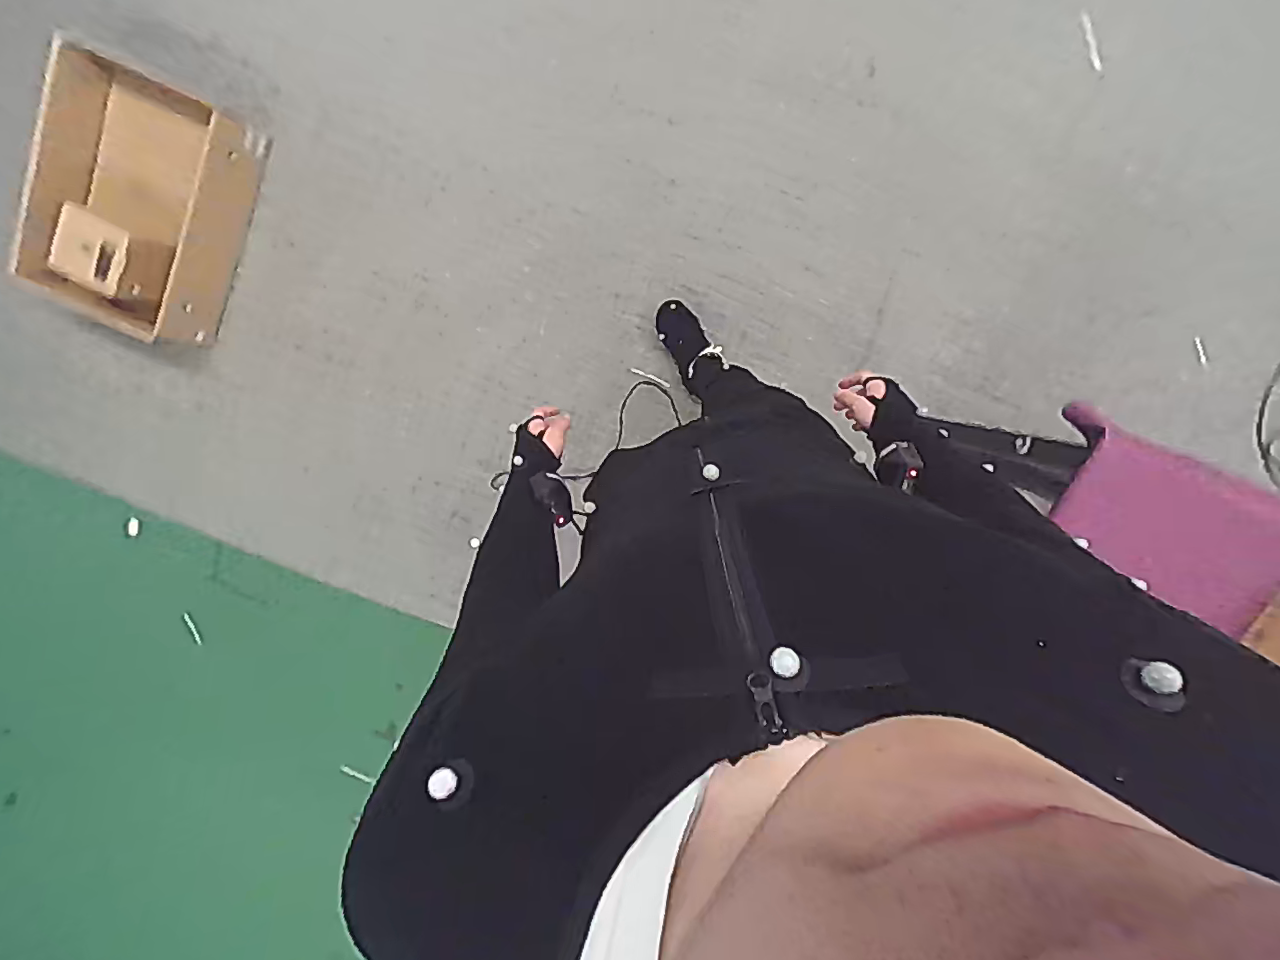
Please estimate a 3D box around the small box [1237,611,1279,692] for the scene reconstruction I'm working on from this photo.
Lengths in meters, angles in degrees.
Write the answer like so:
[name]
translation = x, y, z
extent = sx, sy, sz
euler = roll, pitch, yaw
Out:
[small box]
translation = 1.117, 0.299, 0.836
extent = 0.179, 0.176, 0.168
euler = 25, 102, -2
